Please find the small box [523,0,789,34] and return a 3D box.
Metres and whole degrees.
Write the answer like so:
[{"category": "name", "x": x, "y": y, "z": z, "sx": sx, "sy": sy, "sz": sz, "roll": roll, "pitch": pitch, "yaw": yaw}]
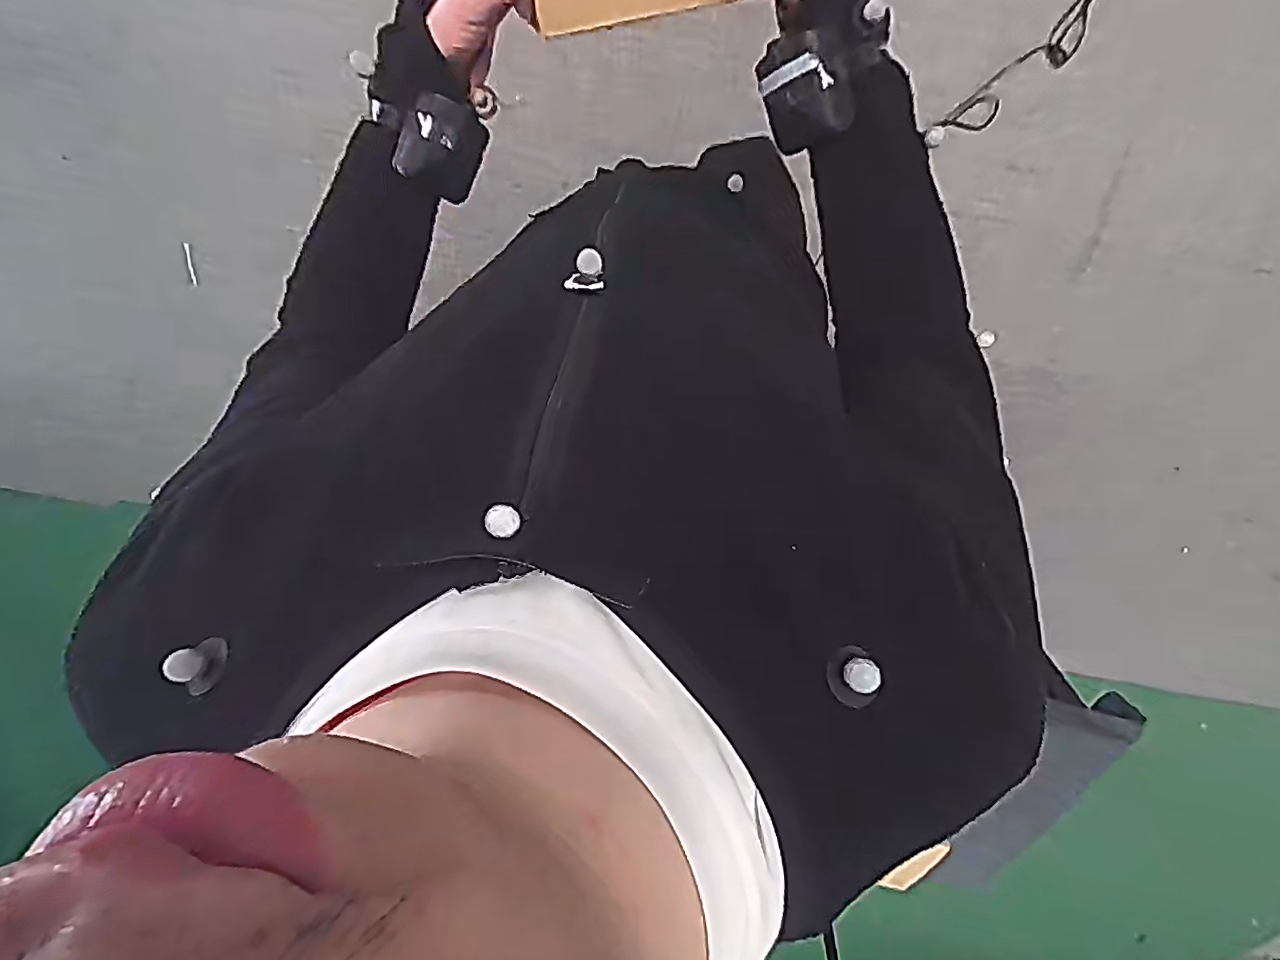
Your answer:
[{"category": "small box", "x": -0.007, "y": -0.403, "z": 0.335, "sx": 0.168, "sy": 0.176, "sz": 0.179, "roll": -13, "pitch": 135, "yaw": -6}]
